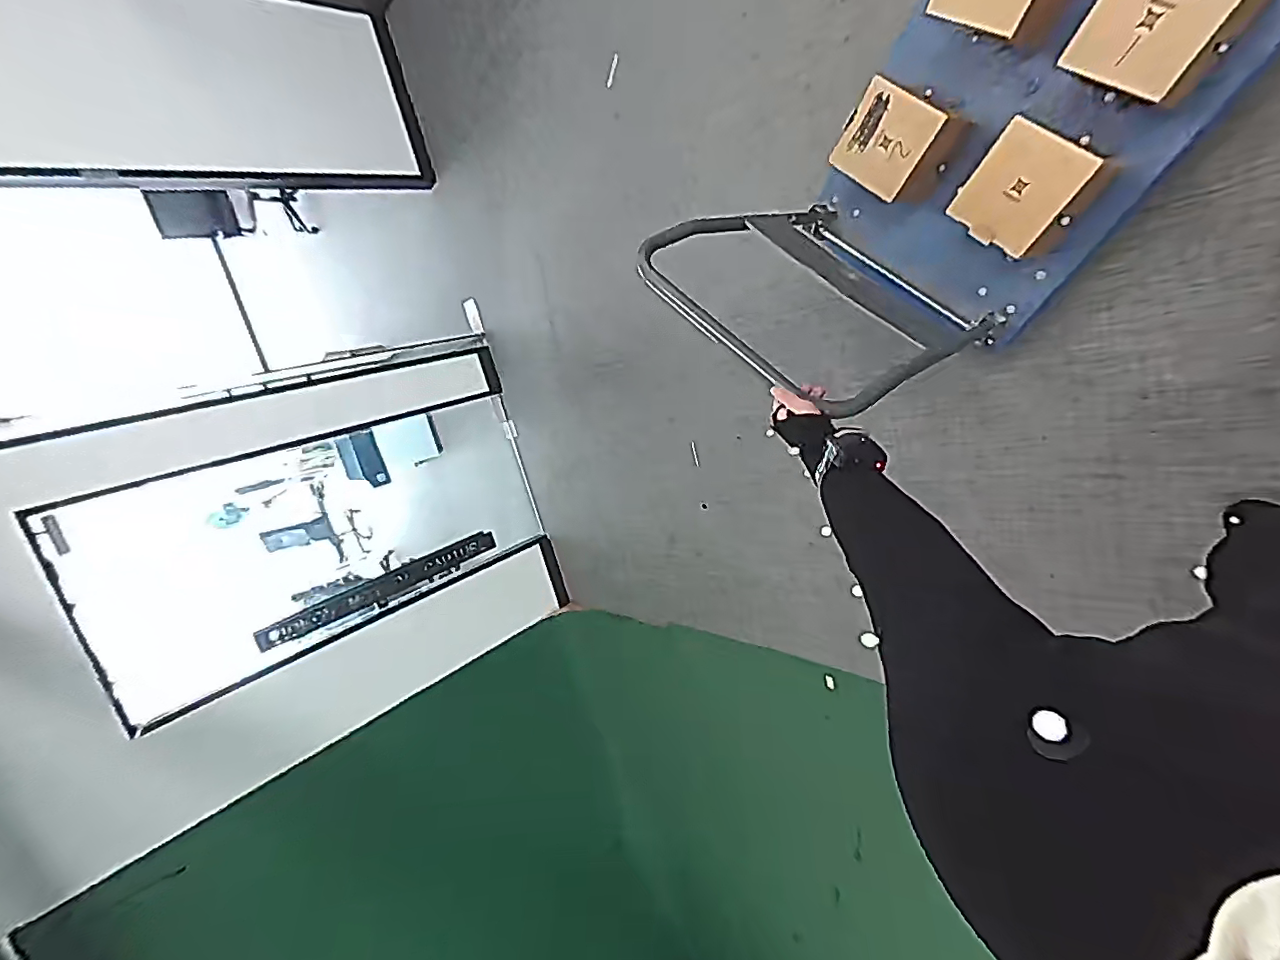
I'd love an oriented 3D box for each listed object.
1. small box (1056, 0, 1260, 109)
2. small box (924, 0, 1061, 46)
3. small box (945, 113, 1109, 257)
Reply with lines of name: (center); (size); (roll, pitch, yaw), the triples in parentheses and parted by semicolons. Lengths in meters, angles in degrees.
small box: (0.797, -0.701, 0.826); (0.168, 0.176, 0.179); (47, 139, 24)
small box: (0.635, -0.874, 0.920); (0.168, 0.176, 0.179); (44, 138, 24)
small box: (0.720, -0.545, 1.004); (0.168, 0.176, 0.179); (48, 140, 20)
